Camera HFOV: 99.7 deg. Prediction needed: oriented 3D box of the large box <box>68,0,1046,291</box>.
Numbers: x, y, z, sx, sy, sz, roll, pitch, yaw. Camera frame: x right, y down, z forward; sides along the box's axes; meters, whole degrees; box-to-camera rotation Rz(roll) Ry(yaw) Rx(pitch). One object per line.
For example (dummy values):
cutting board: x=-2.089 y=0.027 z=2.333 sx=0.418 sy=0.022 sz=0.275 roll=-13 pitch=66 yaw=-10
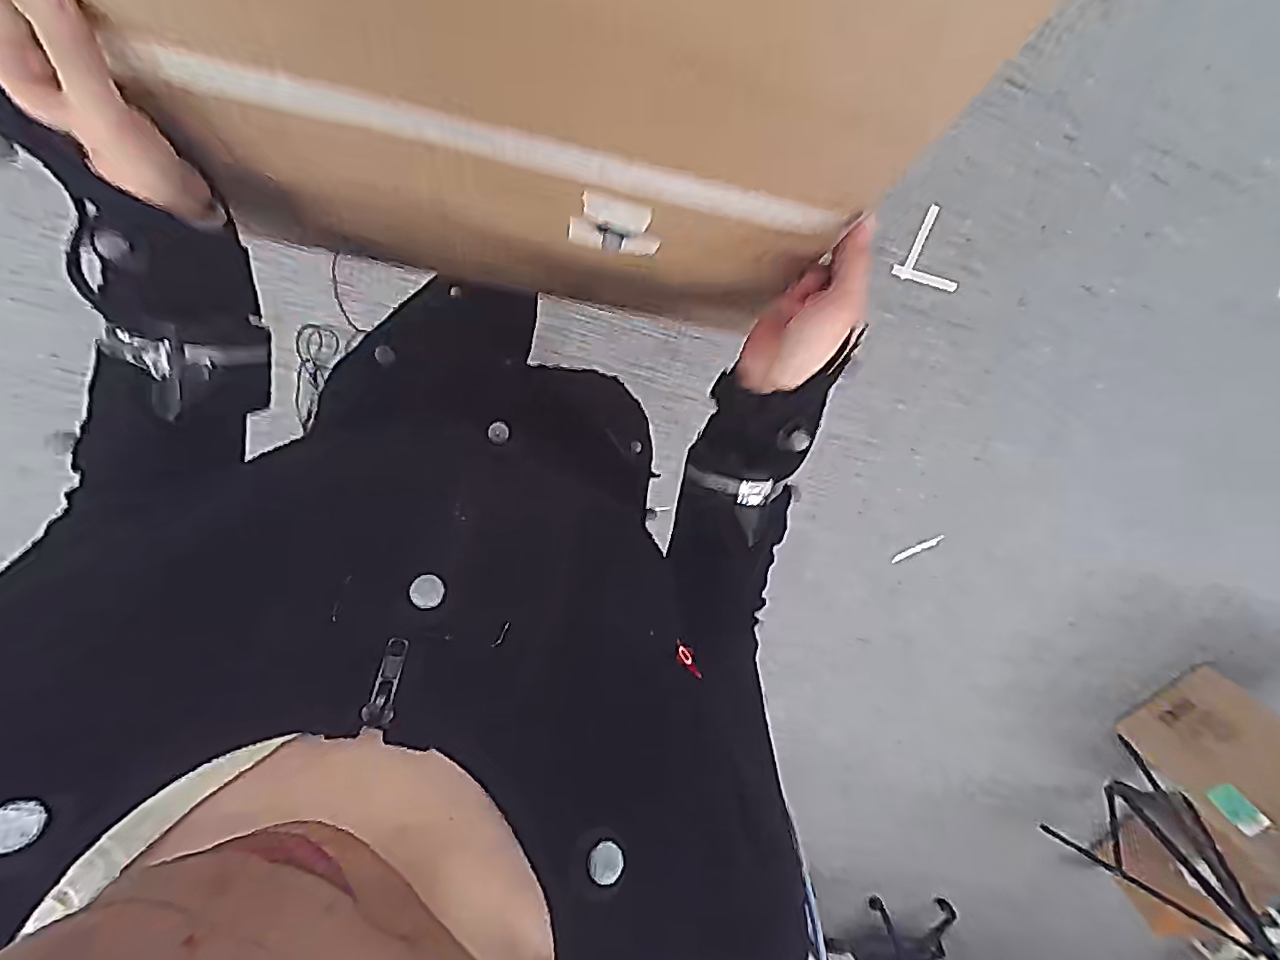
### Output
large box: x=-0.042 y=-0.343 z=0.276 sx=0.408 sy=0.320 sz=0.320 roll=7 pitch=81 yaw=-11
